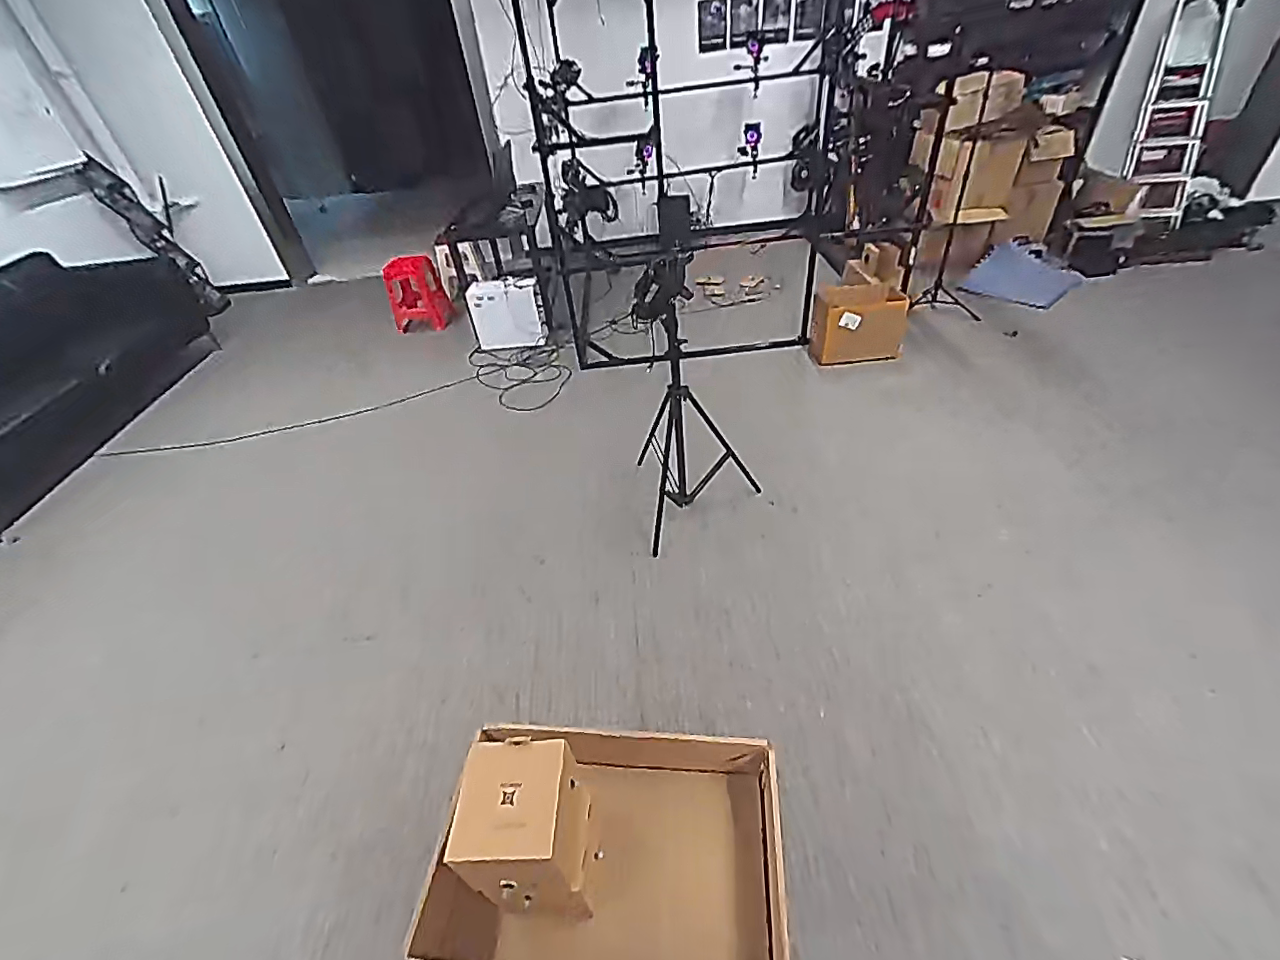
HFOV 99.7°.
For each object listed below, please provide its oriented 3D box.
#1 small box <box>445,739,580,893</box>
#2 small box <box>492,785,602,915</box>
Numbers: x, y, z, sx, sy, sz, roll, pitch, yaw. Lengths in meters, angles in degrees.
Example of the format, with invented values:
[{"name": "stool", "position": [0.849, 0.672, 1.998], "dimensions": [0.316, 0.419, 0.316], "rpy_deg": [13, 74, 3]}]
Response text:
[{"name": "small box", "position": [-0.199, 0.561, 0.906], "dimensions": [0.168, 0.176, 0.179], "rpy_deg": [-4, 39, 5]}, {"name": "small box", "position": [-0.175, 0.688, 1.008], "dimensions": [0.179, 0.176, 0.168], "rpy_deg": [-1, 40, 5]}]
